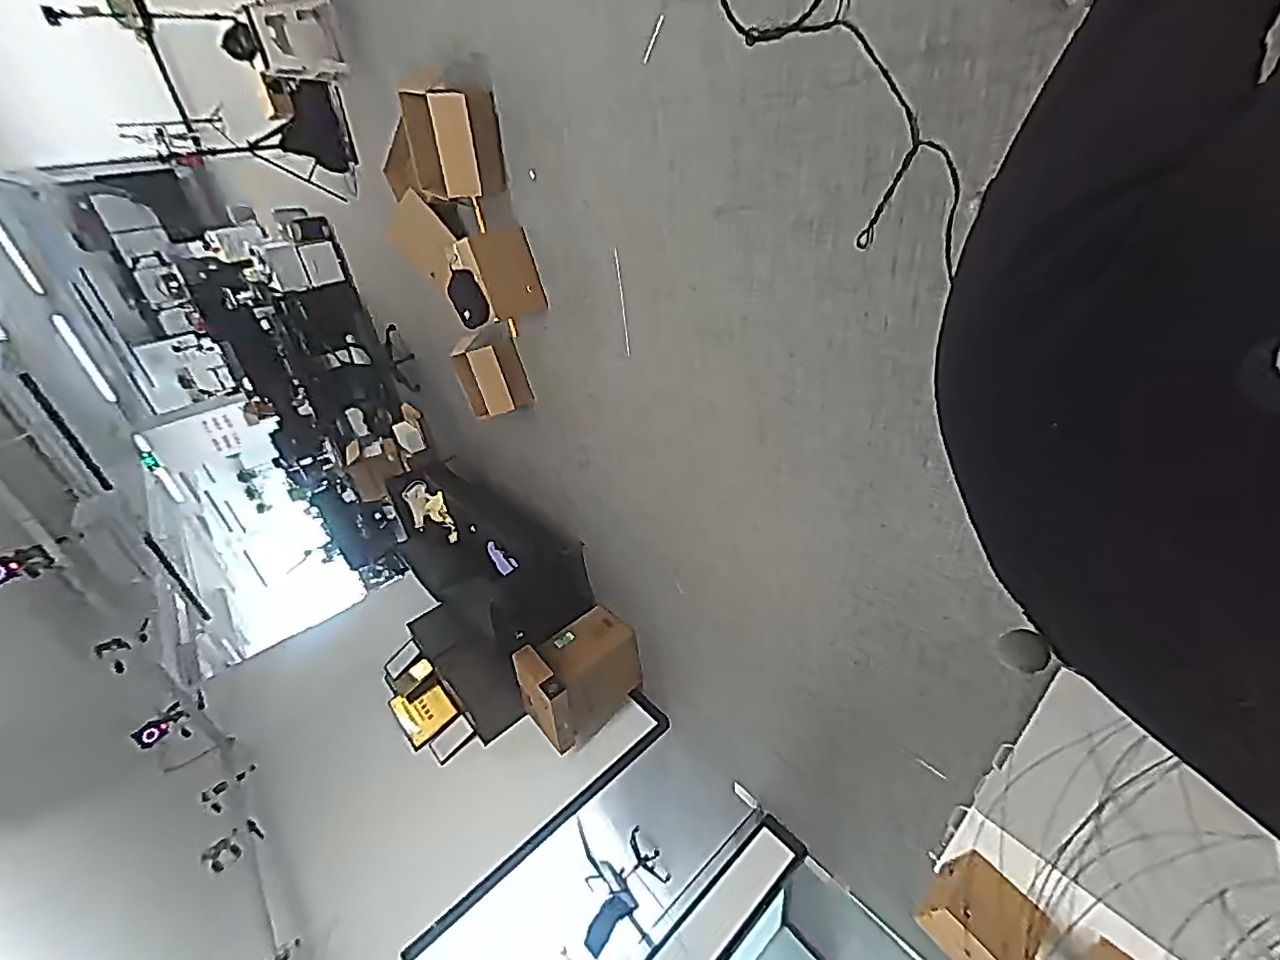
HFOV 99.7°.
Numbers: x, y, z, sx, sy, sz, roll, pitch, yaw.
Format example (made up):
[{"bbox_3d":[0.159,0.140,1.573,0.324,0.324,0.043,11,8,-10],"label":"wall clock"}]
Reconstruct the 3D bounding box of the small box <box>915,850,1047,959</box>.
[{"bbox_3d":[0.781,1.004,1.239,0.179,0.176,0.168,40,143,30],"label":"small box"}]
